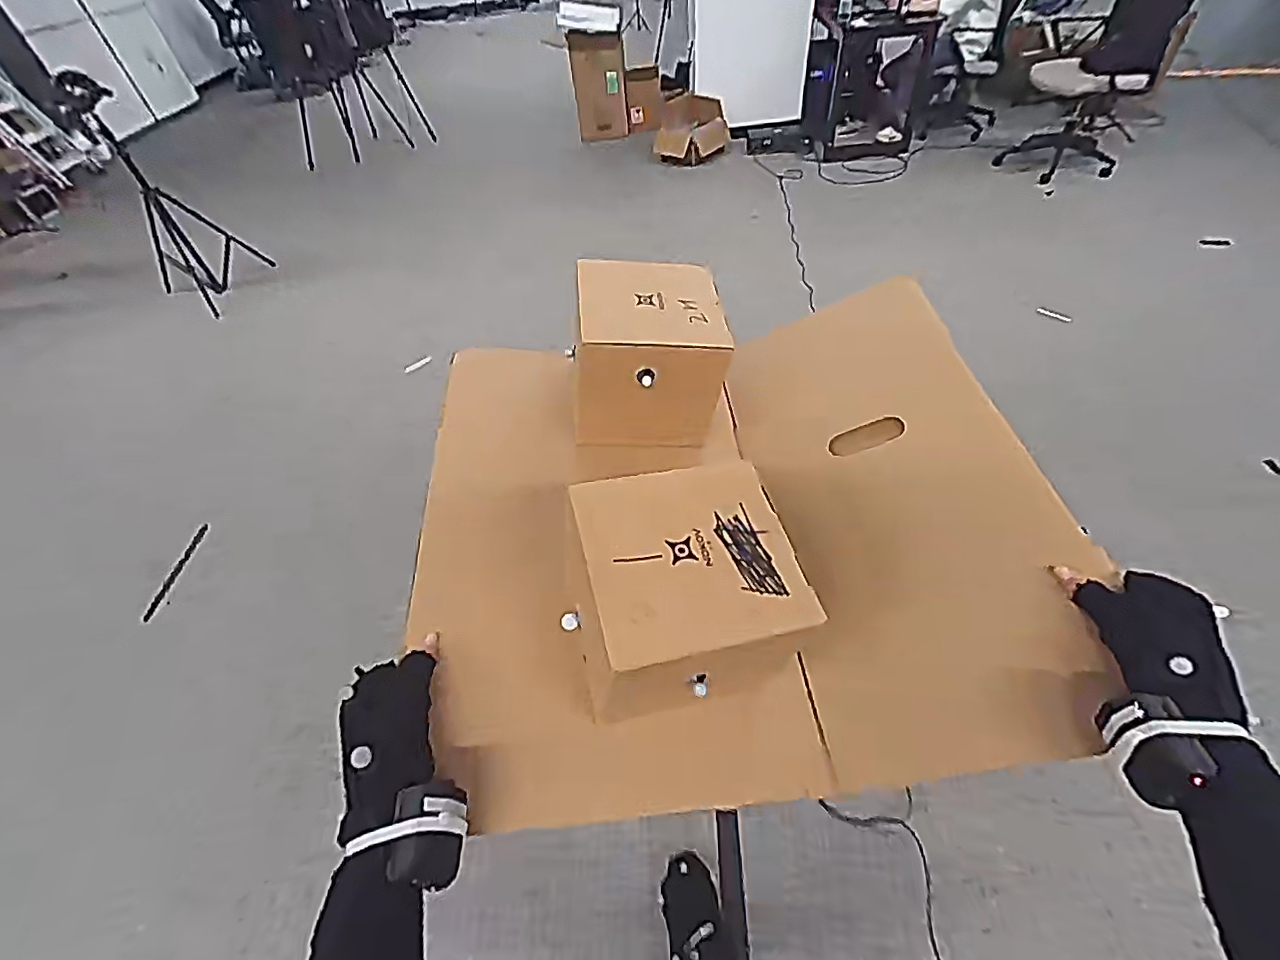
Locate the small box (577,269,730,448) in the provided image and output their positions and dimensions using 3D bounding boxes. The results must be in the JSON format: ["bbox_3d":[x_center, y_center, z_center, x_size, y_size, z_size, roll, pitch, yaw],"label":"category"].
[{"bbox_3d":[0.004,-0.156,0.718,0.179,0.176,0.168,0,53,-9],"label":"small box"}]

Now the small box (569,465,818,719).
[{"bbox_3d":[0.032,0.109,0.518,0.179,0.176,0.168,-8,55,-14],"label":"small box"}]
